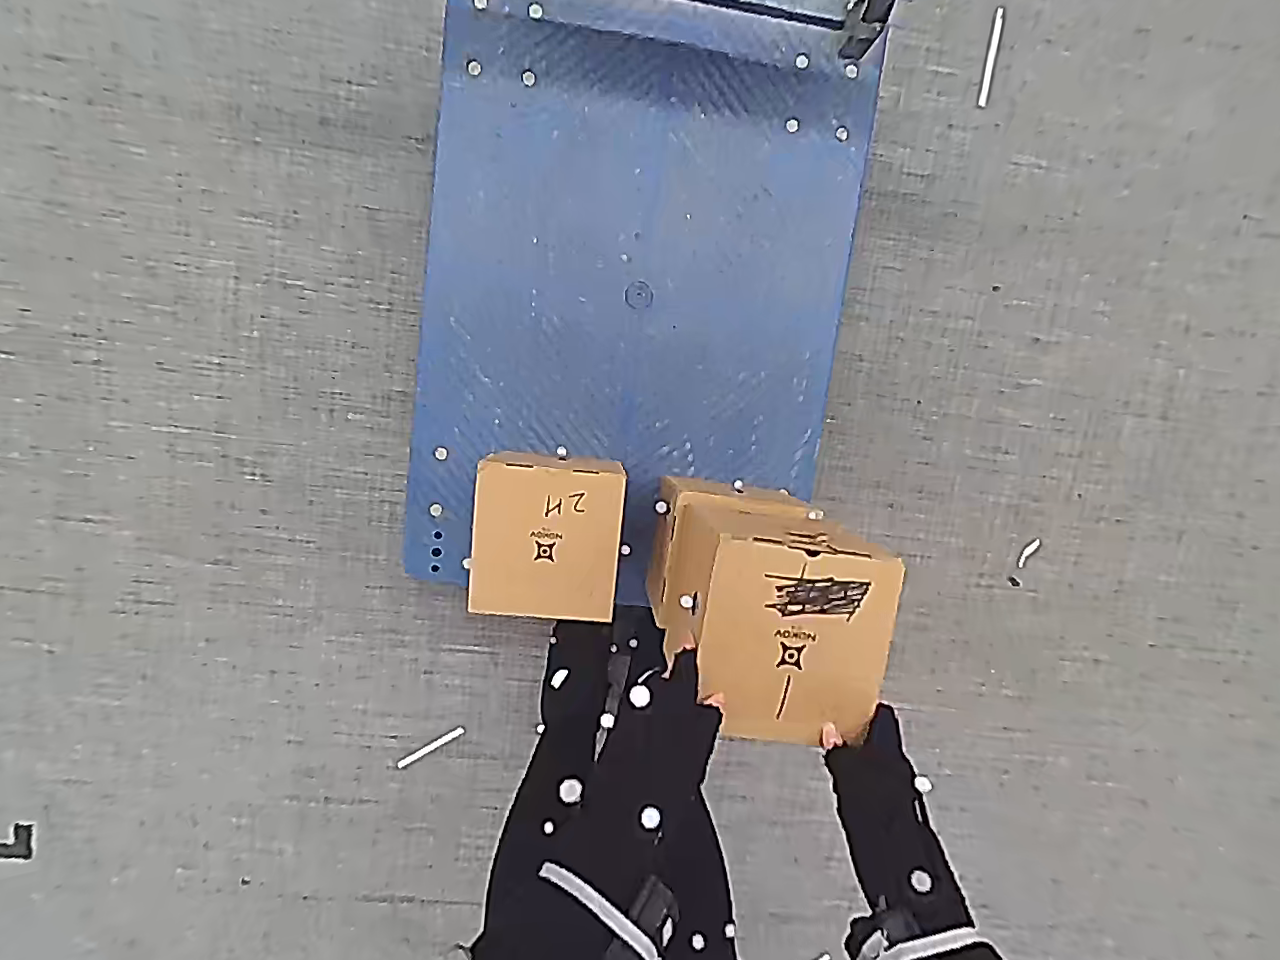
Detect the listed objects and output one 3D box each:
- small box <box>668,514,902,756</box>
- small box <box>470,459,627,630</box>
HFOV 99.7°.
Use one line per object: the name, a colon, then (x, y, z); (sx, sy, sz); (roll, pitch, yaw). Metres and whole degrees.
small box: (0.126, 0.138, 0.541); (0.168, 0.176, 0.179); (8, 96, -4)
small box: (-0.109, 0.072, 0.690); (0.168, 0.176, 0.179); (6, 96, -5)
